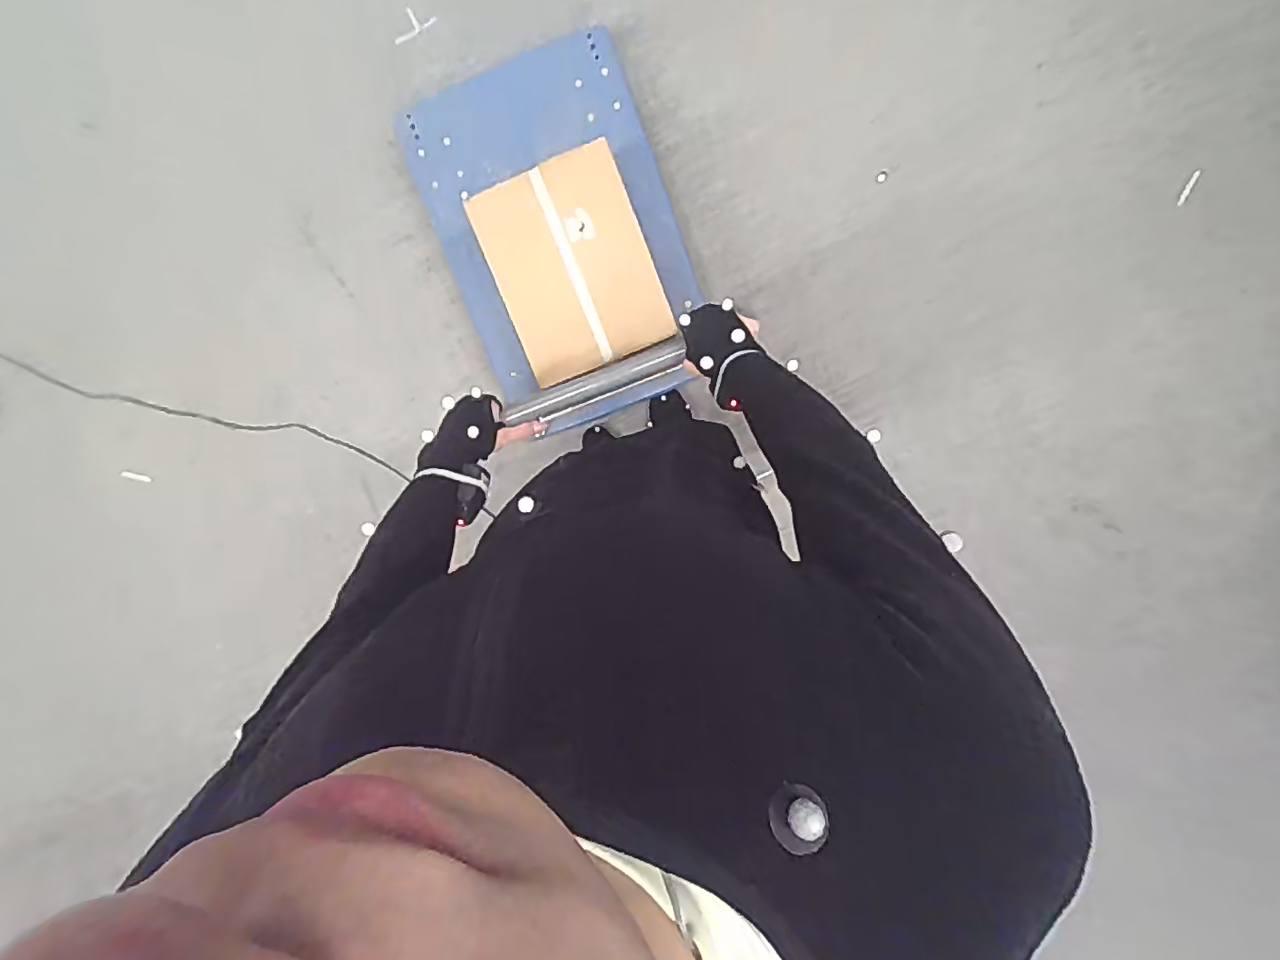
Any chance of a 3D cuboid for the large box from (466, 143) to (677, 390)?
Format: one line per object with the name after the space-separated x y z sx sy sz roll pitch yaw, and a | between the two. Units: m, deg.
-0.131 -0.450 1.244 0.320 0.320 0.408 -21 97 4 | large box
